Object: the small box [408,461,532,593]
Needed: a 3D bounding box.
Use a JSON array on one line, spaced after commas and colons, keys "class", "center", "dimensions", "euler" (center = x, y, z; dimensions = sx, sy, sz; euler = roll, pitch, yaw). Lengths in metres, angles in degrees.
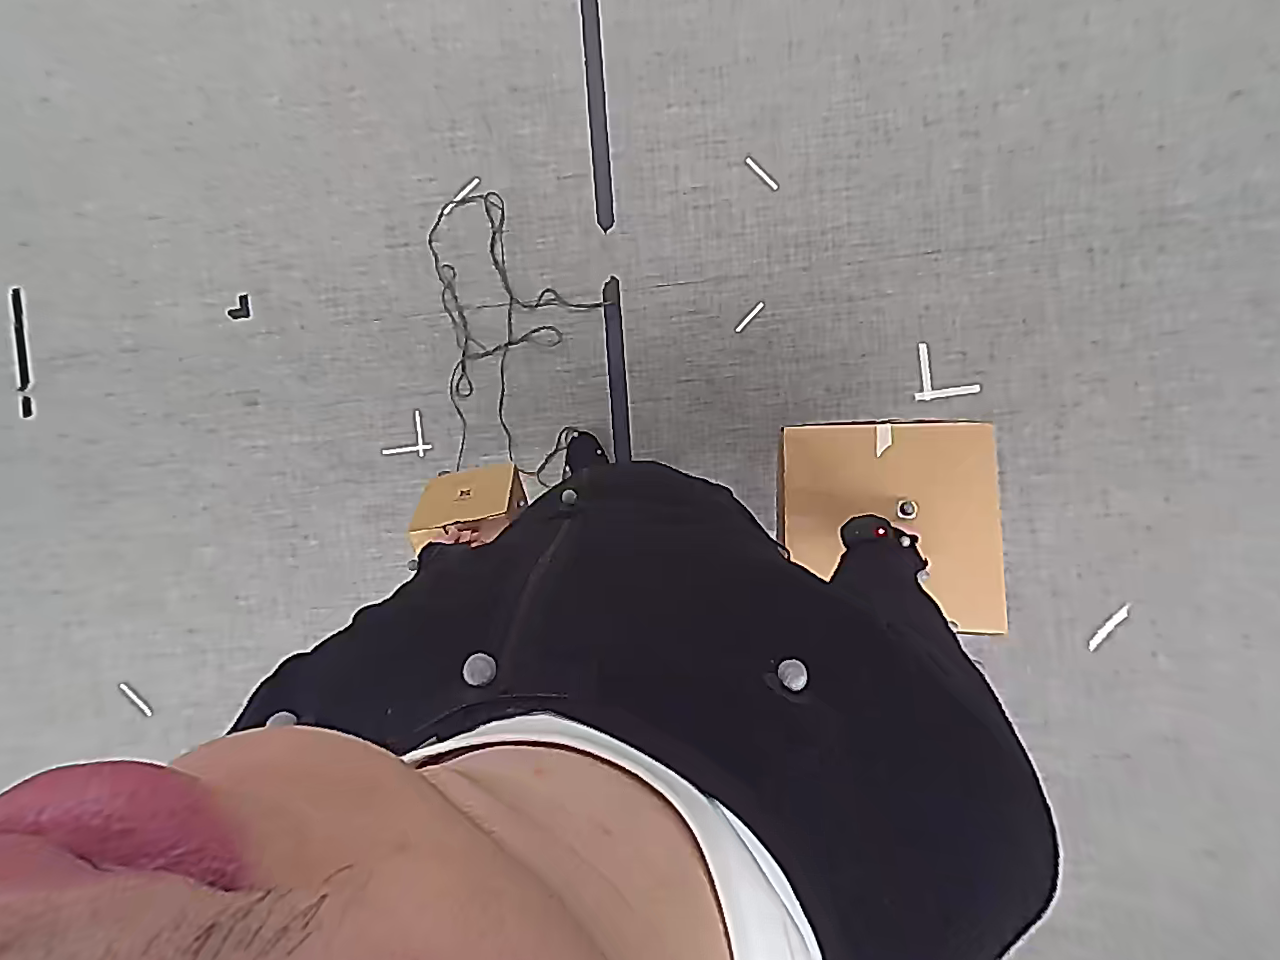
[{"class": "small box", "center": [-0.299, 0.091, 0.996], "dimensions": [0.168, 0.179, 0.176], "euler": [-10, 123, -2]}]
